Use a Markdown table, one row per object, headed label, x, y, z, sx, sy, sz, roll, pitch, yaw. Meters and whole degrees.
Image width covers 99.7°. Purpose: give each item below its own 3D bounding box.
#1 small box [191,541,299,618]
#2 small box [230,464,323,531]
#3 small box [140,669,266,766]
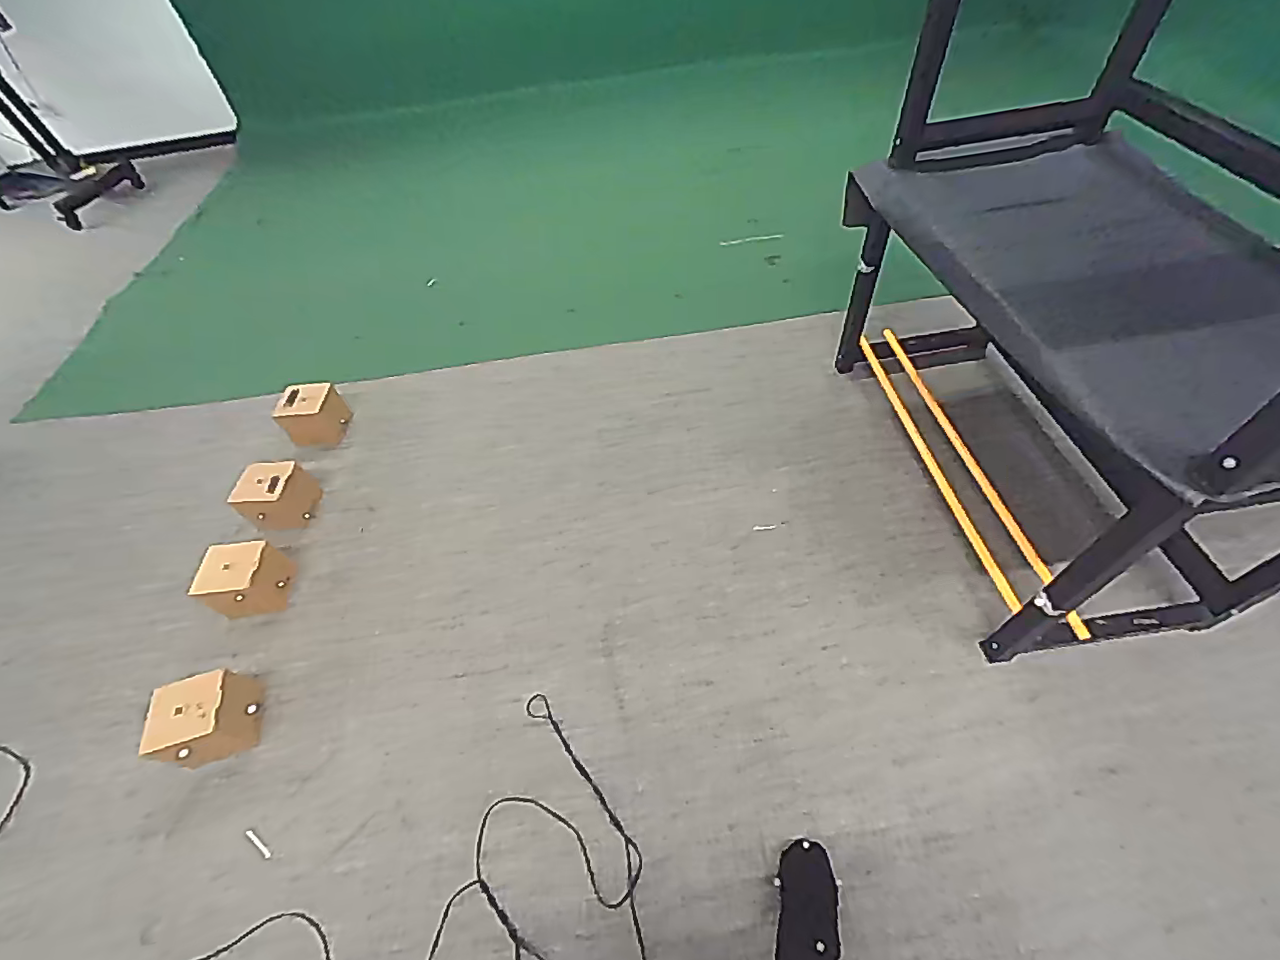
| label | x | y | z | sx | sy | sz | roll | pitch | yaw |
| --- | --- | --- | --- | --- | --- | --- | --- | --- | --- |
| small box | -1.193 | 0.308 | 1.648 | 0.179 | 0.176 | 0.168 | -7 | 52 | 1 |
| small box | -1.226 | 0.062 | 1.841 | 0.179 | 0.176 | 0.168 | -3 | 52 | 6 |
| small box | -1.117 | 0.619 | 1.398 | 0.179 | 0.176 | 0.168 | -17 | 53 | -6 |
